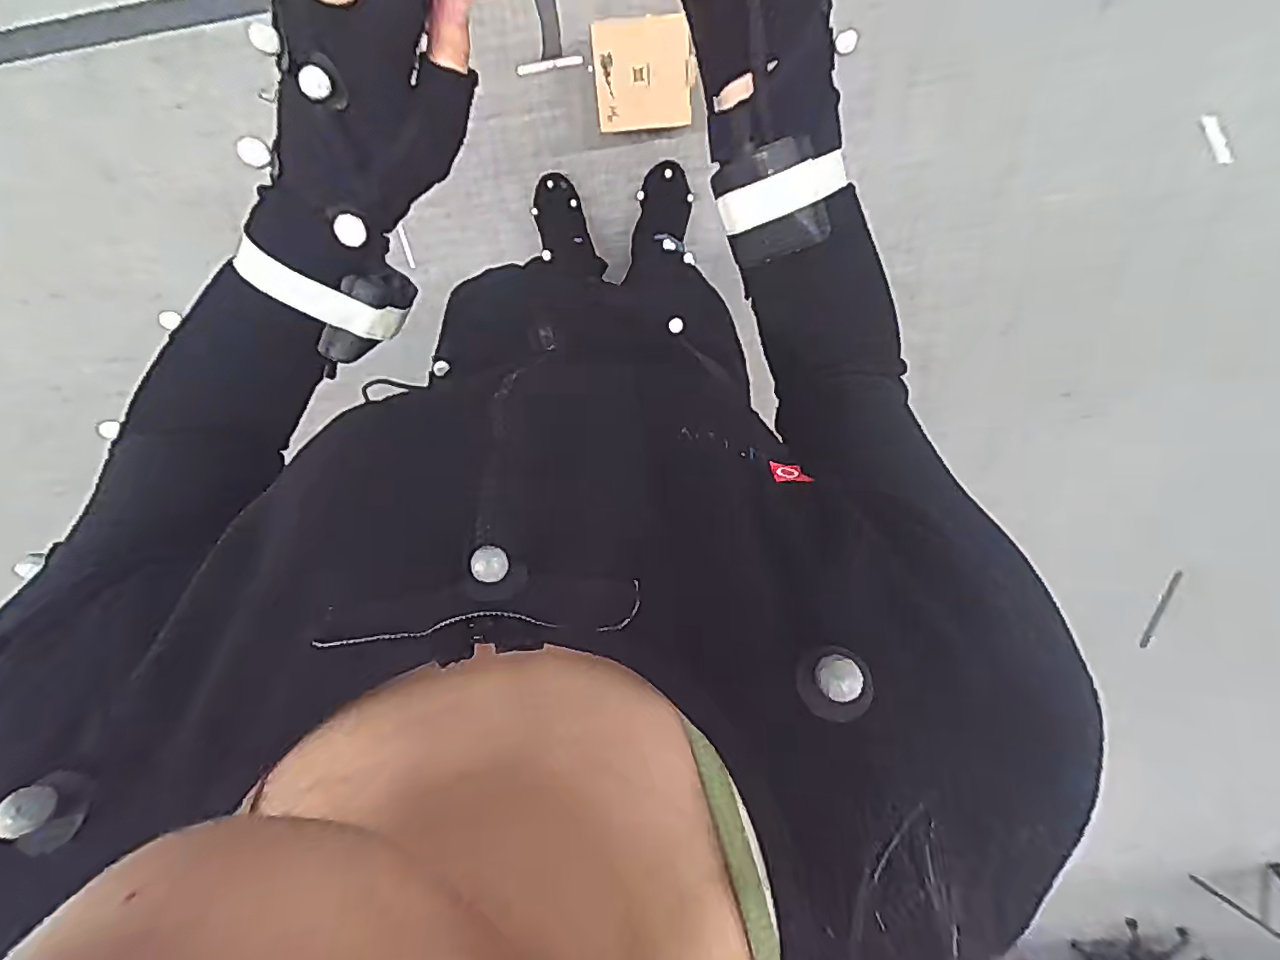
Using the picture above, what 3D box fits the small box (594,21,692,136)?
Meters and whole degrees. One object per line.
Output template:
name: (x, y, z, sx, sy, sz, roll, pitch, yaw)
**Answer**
small box: (0.006, -0.776, 1.057, 0.179, 0.176, 0.168, -3, 122, 1)
